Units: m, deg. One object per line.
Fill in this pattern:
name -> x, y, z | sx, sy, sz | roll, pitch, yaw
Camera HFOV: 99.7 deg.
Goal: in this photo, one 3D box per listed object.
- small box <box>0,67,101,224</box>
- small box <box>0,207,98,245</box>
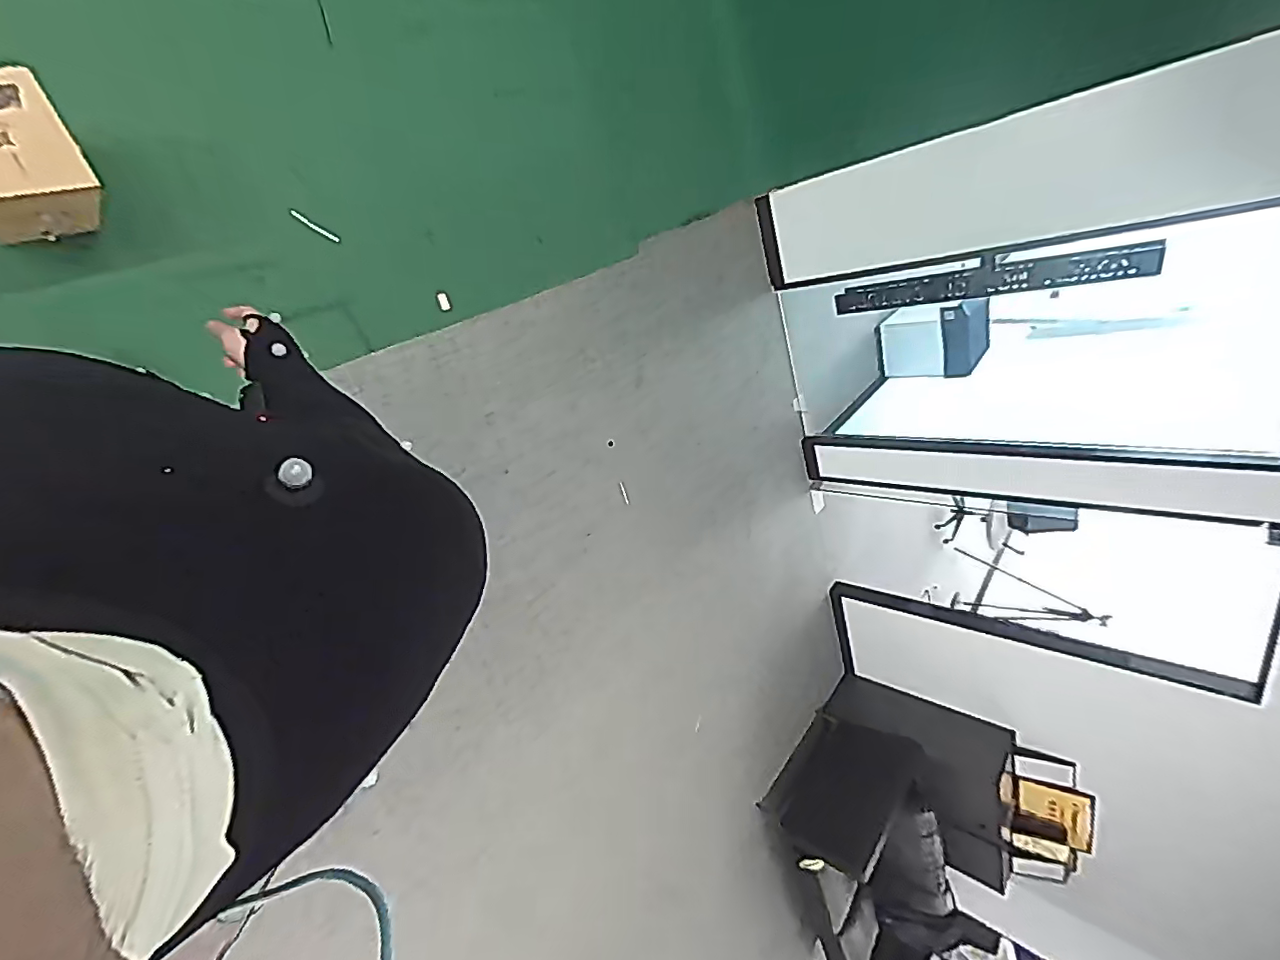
small box -> -1.052, -0.546, 0.894 | 0.168, 0.176, 0.179 | -37, 121, -36
small box -> -1.171, -0.561, 1.007 | 0.168, 0.176, 0.179 | -36, 120, -37
